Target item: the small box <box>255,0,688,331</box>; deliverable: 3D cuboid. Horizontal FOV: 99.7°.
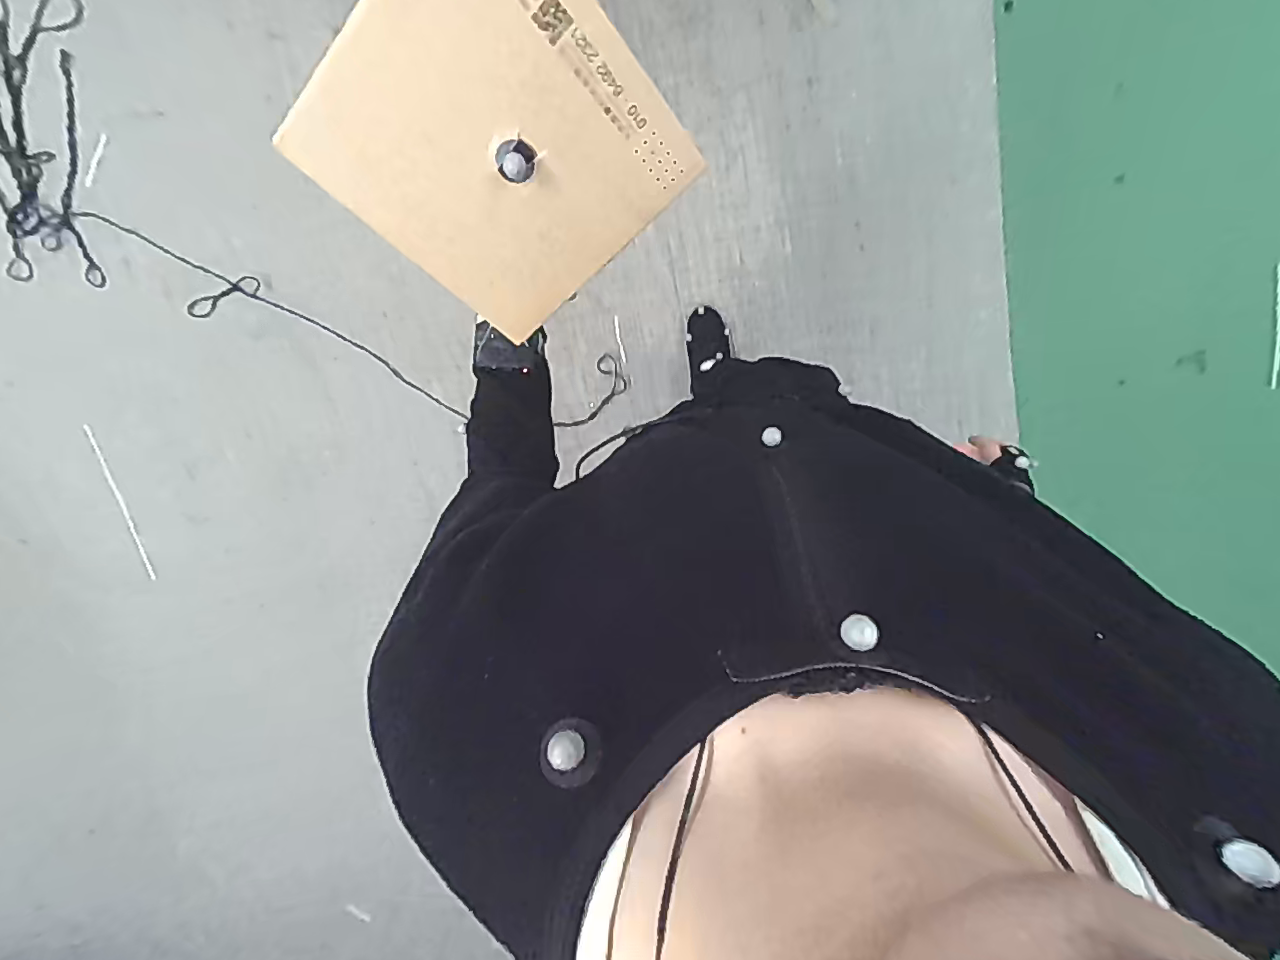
[{"bbox_3d":[-0.091,-0.238,0.340,0.176,0.179,0.168,-35,131,22],"label":"small box"}]
